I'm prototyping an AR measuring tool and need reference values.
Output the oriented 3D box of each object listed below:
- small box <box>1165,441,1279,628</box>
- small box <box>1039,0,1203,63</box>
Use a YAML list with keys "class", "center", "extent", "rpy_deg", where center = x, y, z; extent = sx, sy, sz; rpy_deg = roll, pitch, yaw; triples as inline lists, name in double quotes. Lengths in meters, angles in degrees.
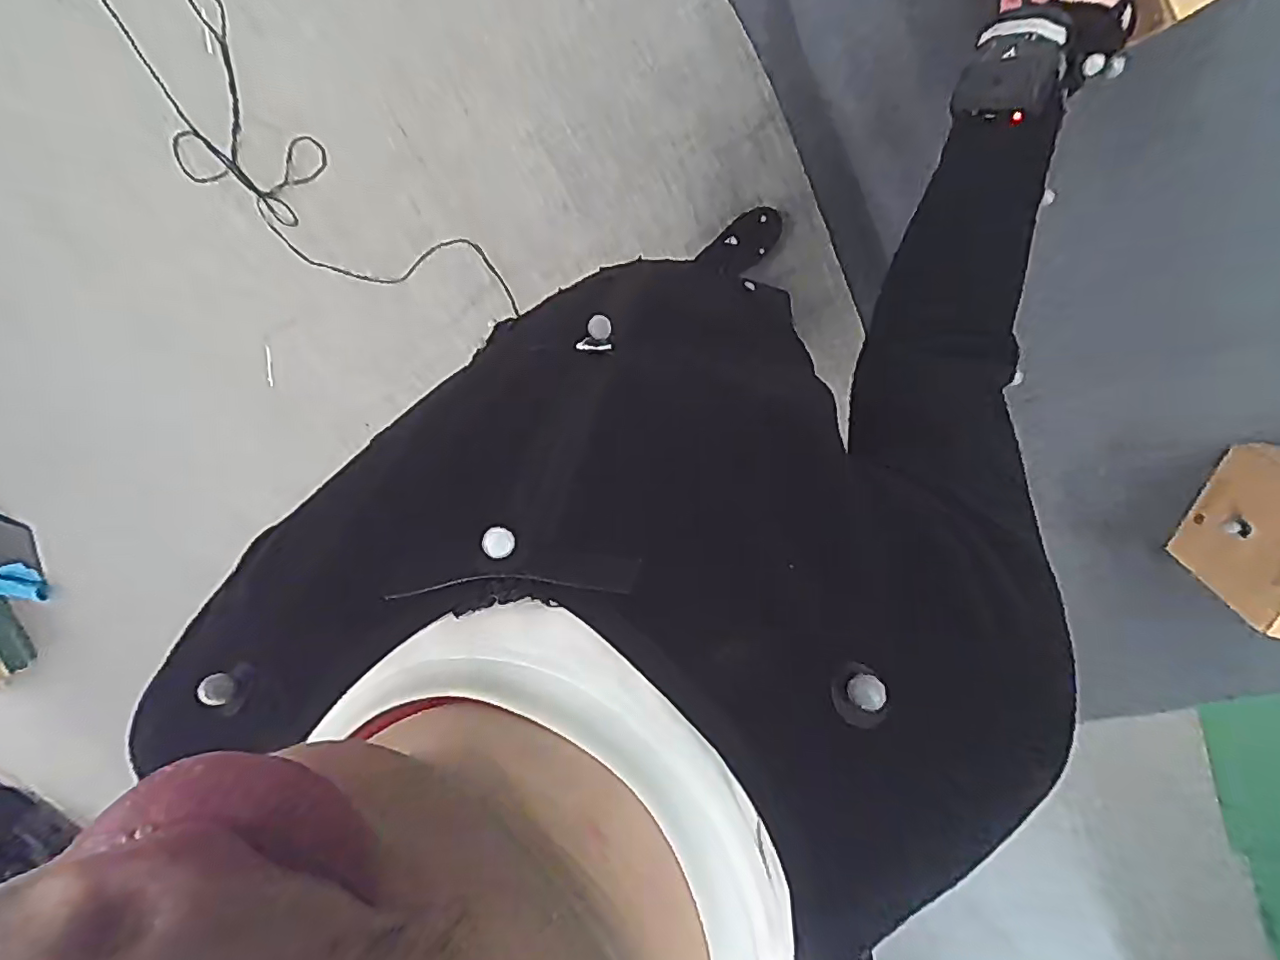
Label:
- class: "small box"
  center: [0.784, 0.066, 0.626]
  extent: [0.179, 0.176, 0.168]
  rpy_deg: [10, 119, 9]
- class: "small box"
  center: [0.435, -0.481, 0.427]
  extent: [0.179, 0.176, 0.168]
  rpy_deg: [-29, 109, 23]
